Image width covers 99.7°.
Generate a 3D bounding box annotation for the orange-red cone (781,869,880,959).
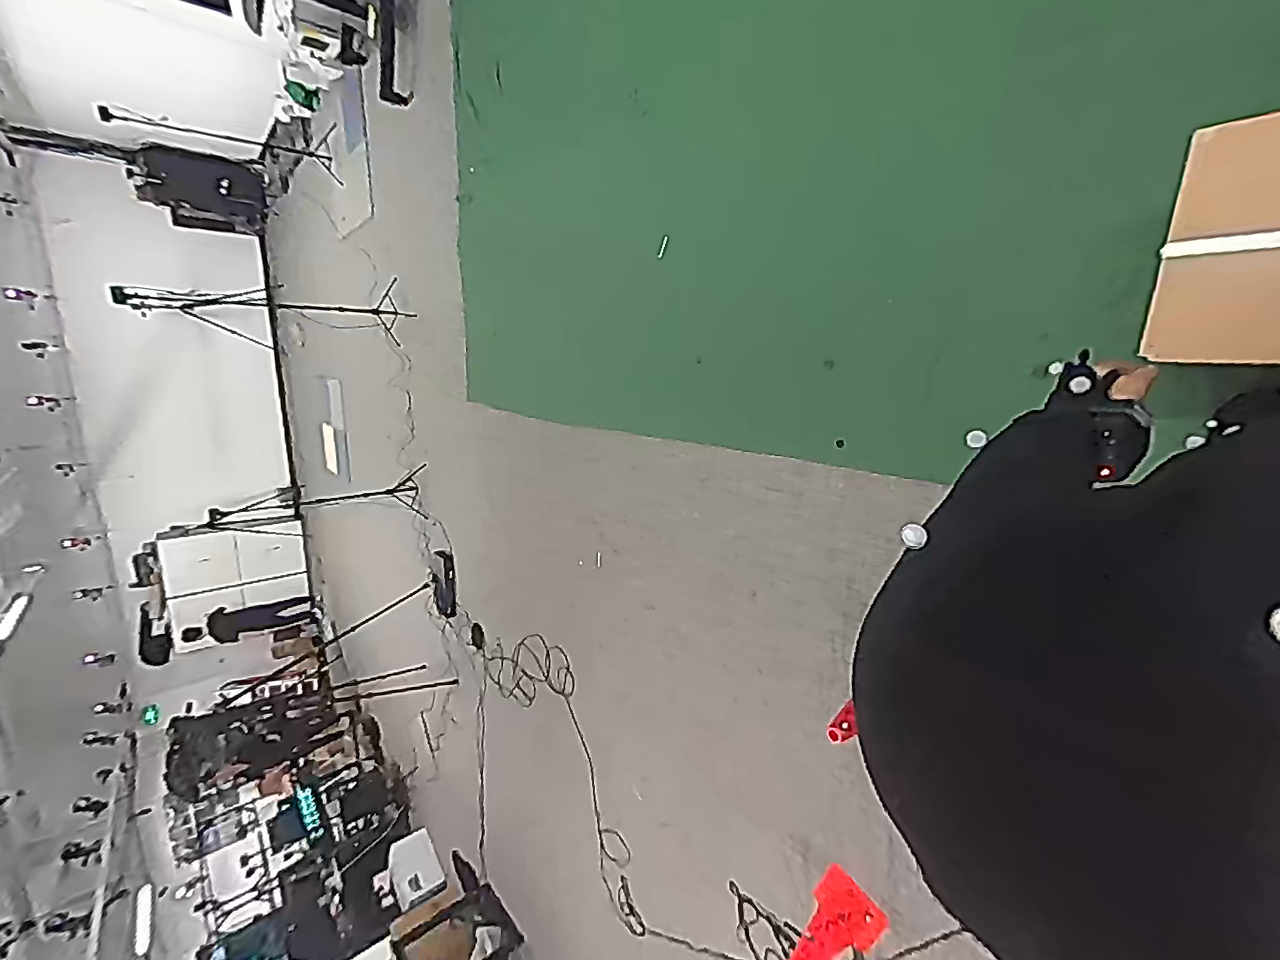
[{"bbox_3d":[0.489,1.352,1.559,0.199,0.360,0.198,41,125,40],"label":"orange-red cone"}]
